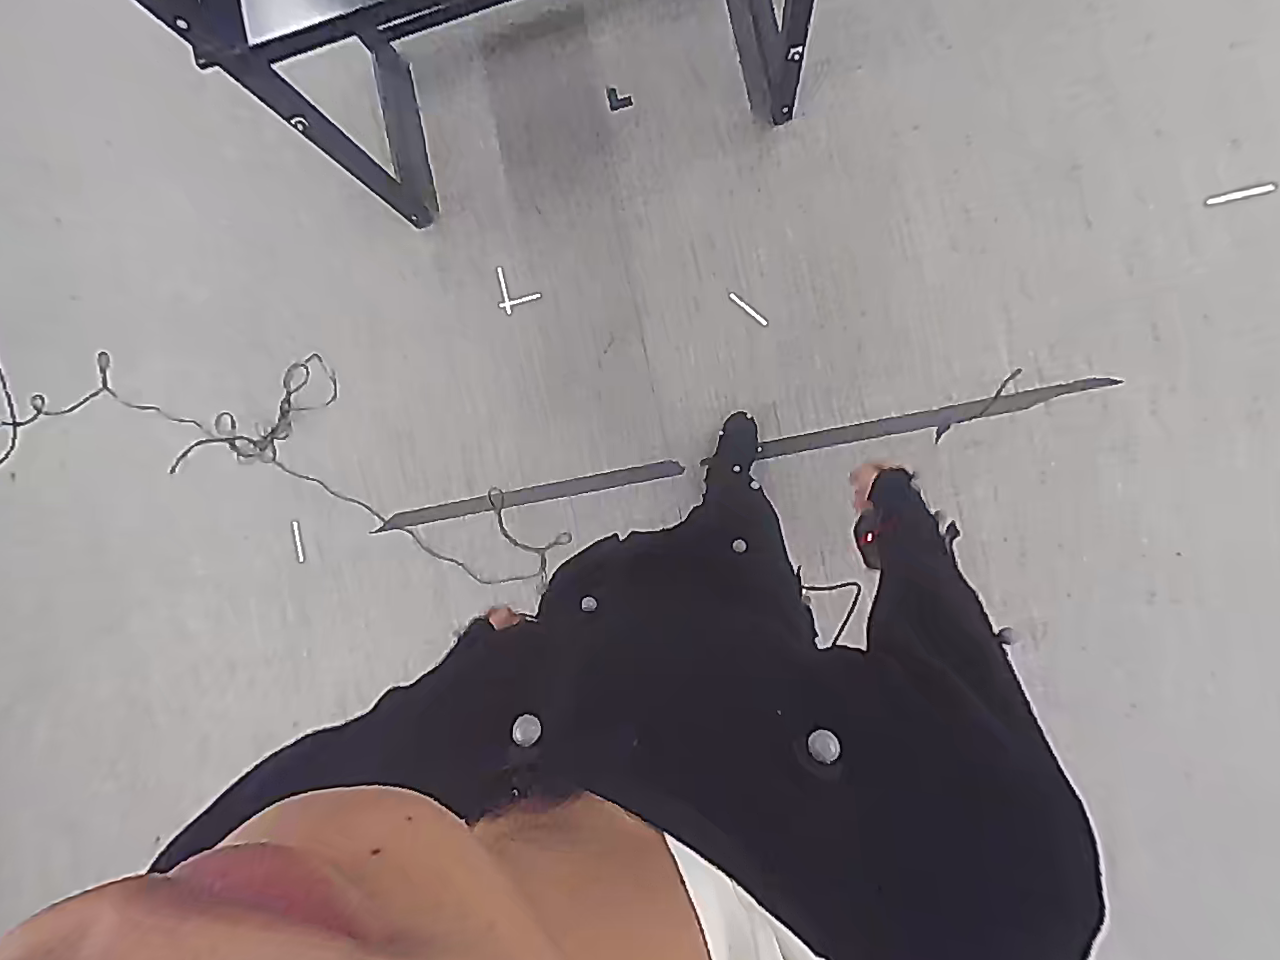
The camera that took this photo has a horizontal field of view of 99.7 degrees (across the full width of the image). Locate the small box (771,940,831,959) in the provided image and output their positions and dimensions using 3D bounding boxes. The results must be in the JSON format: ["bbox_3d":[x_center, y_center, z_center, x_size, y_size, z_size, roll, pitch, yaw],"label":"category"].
[{"bbox_3d":[0.460,1.426,1.488,0.168,0.176,0.179,-8,90,8],"label":"small box"}]
